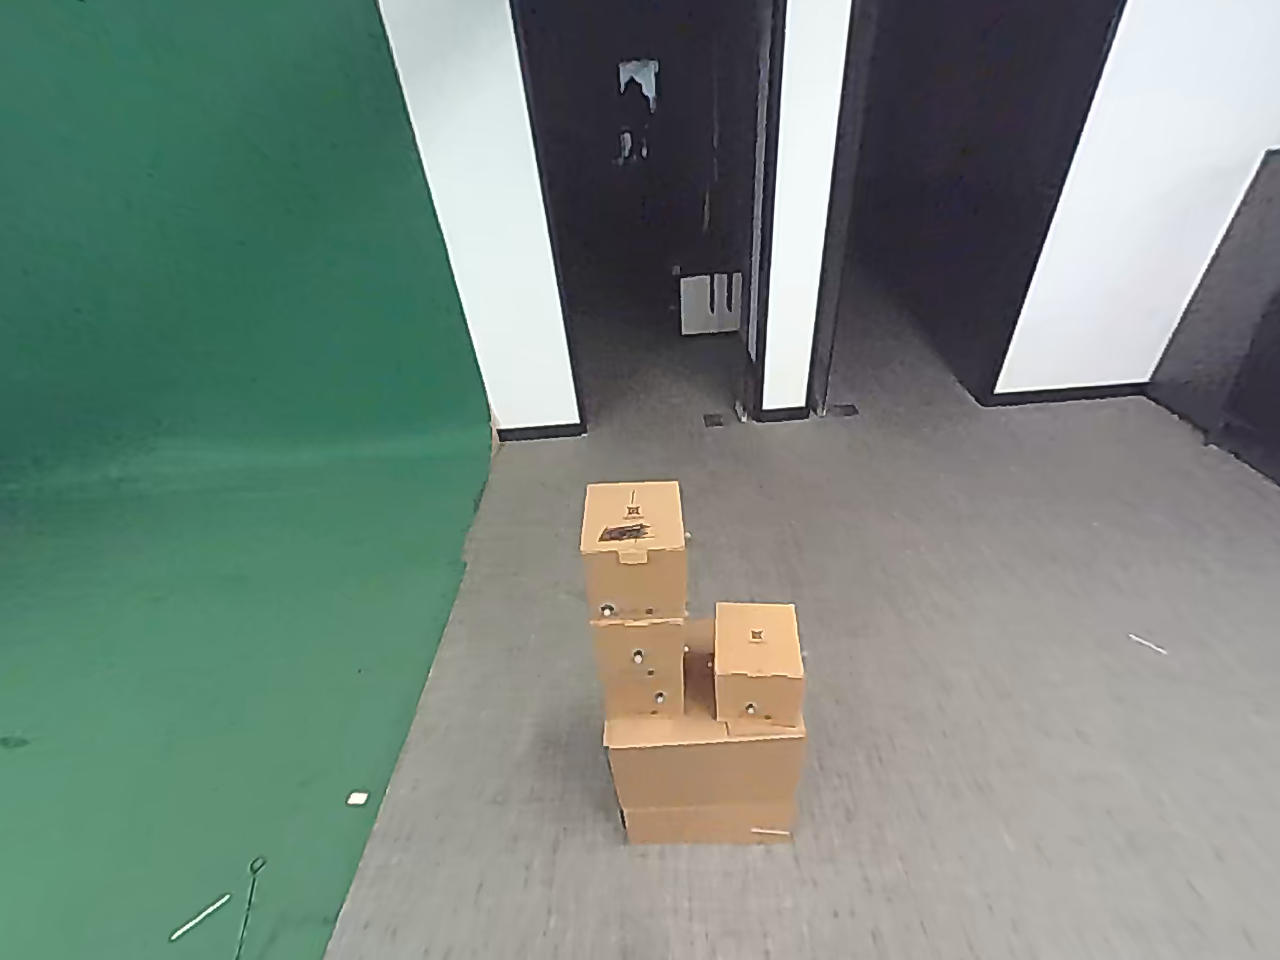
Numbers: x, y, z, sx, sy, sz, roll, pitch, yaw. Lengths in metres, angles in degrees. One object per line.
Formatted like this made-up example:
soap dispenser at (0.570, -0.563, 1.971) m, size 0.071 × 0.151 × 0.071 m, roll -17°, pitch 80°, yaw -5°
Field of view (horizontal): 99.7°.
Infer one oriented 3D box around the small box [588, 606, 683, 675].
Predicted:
small box at (-0.004, 0.258, 1.040) m, size 0.168 × 0.176 × 0.179 m, roll -2°, pitch 38°, yaw 1°

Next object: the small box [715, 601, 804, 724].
small box at (0.240, 0.375, 1.122) m, size 0.168 × 0.176 × 0.179 m, roll -1°, pitch 37°, yaw 9°

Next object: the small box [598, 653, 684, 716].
small box at (0.008, 0.382, 1.148) m, size 0.168 × 0.176 × 0.179 m, roll -1°, pitch 37°, yaw 3°

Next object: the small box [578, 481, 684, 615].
small box at (-0.010, 0.122, 0.948) m, size 0.168 × 0.176 × 0.179 m, roll -2°, pitch 36°, yaw 1°
